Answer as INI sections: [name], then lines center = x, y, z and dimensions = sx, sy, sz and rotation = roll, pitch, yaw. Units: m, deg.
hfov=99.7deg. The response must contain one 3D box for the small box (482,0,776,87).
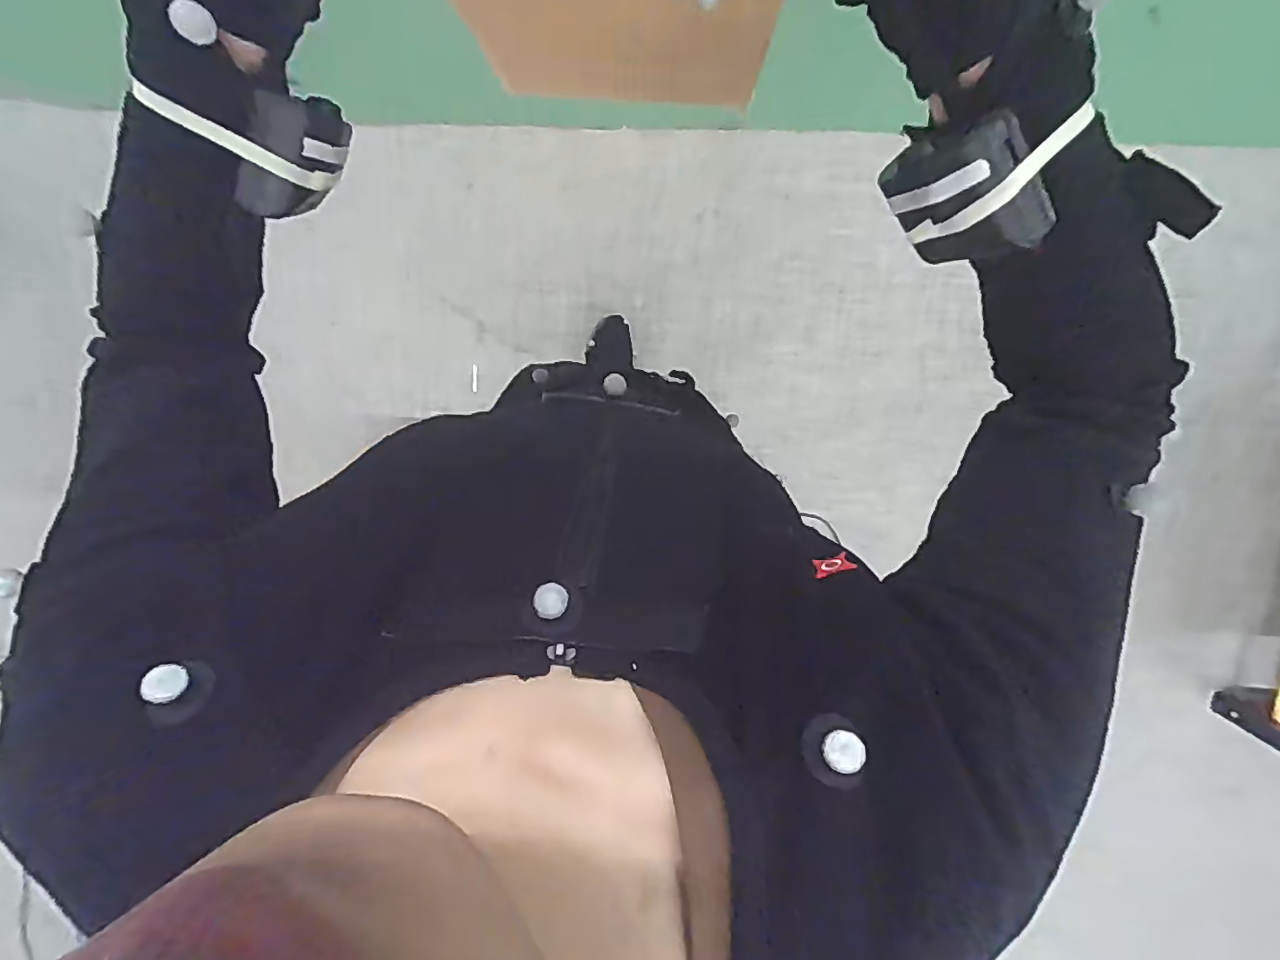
[small box]
center = -0.004, -0.340, 0.285
dimensions = 0.179, 0.176, 0.168
rotation = 4, 104, 0
